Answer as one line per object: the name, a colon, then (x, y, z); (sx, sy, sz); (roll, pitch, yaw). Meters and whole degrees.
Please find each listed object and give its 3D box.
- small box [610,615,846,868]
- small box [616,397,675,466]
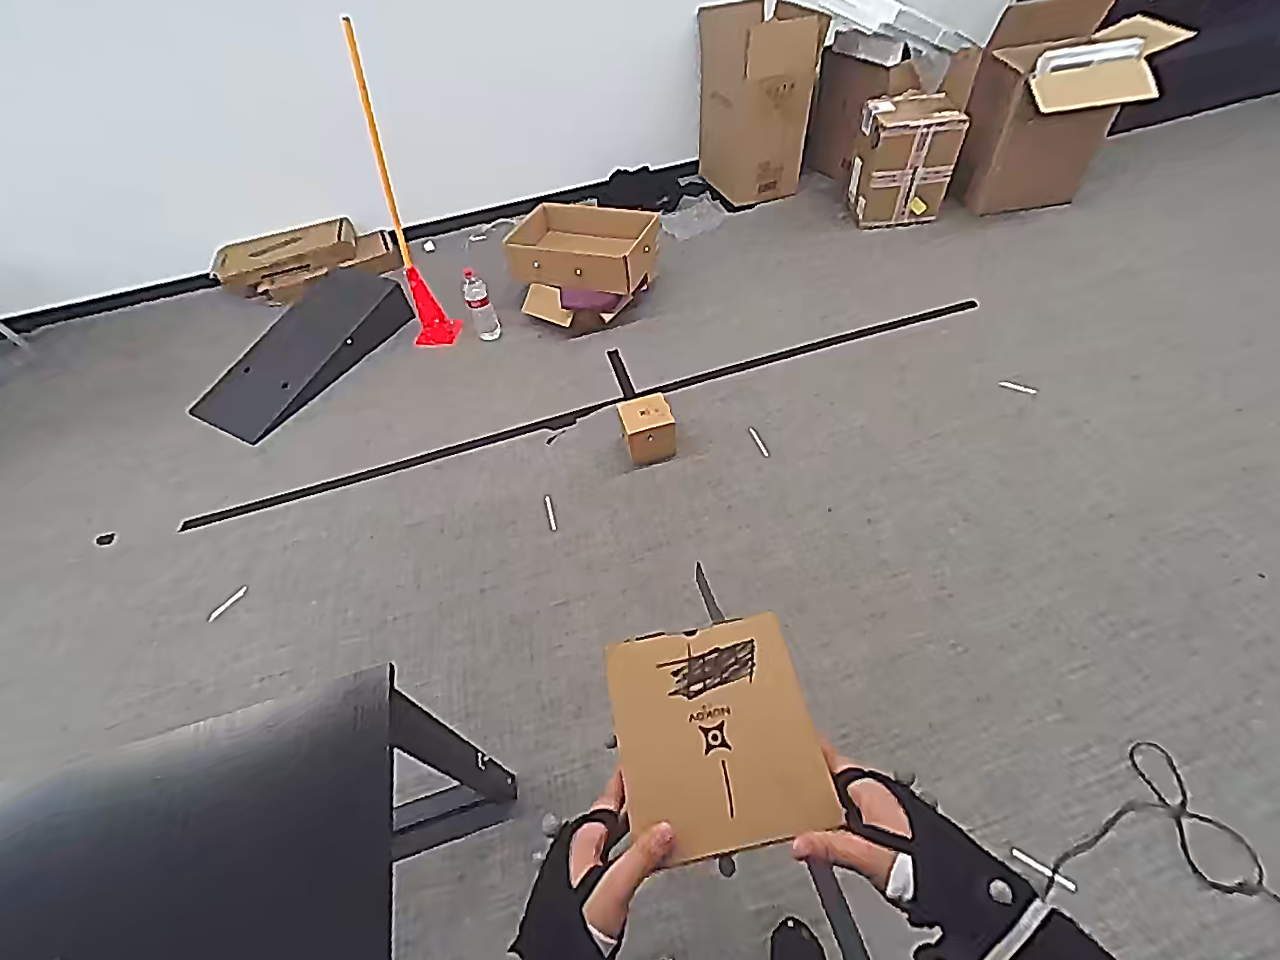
small box: (0.067, 0.254, 0.520); (0.168, 0.176, 0.179); (-10, 55, -4)
small box: (0.022, -0.174, 1.981); (0.179, 0.176, 0.168); (-15, 51, -6)
